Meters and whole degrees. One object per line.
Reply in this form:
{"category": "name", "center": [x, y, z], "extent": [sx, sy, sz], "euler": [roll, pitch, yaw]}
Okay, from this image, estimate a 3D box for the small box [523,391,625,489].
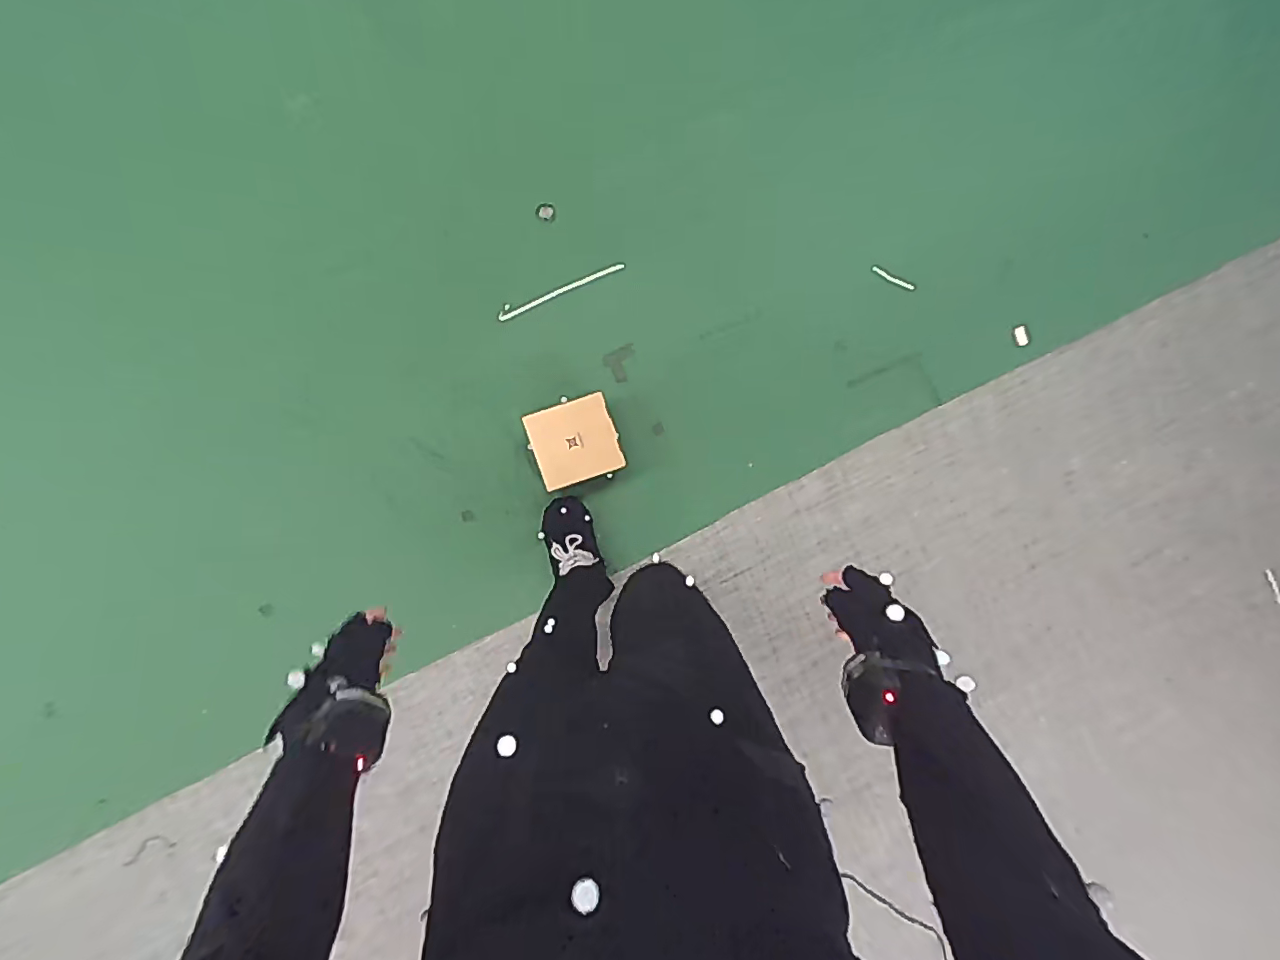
{"category": "small box", "center": [-0.143, -0.085, 1.202], "extent": [0.179, 0.176, 0.168], "euler": [-20, 94, -5]}
